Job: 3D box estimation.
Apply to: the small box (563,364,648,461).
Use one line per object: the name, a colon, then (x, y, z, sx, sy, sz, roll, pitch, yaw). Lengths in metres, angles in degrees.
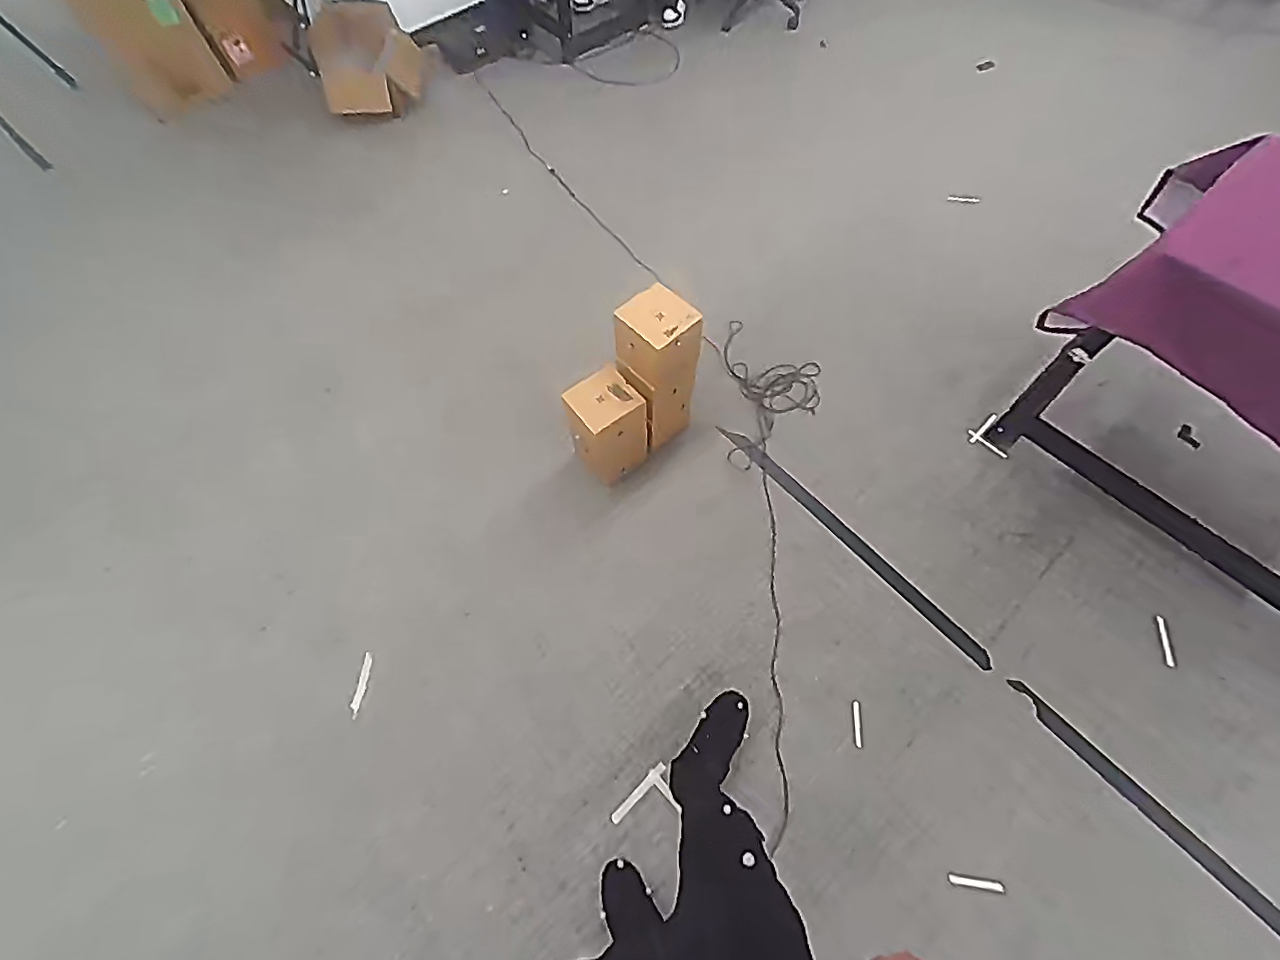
small box: (-0.092, -0.187, 1.536, 0.179, 0.176, 0.168, -35, 67, -13)

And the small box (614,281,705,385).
small box: (0.052, -0.388, 1.448, 0.168, 0.176, 0.179, -40, 68, -16)
